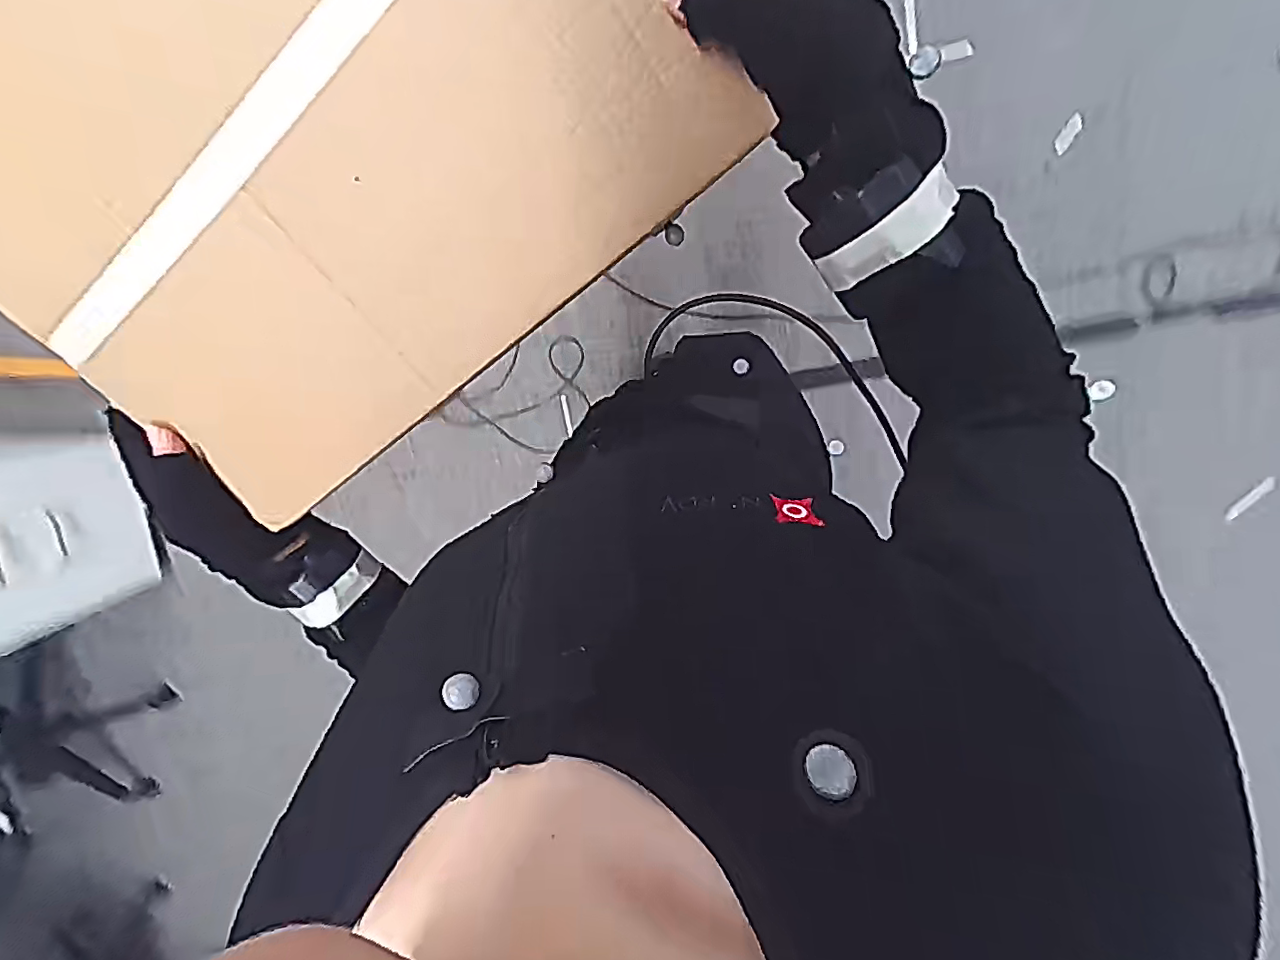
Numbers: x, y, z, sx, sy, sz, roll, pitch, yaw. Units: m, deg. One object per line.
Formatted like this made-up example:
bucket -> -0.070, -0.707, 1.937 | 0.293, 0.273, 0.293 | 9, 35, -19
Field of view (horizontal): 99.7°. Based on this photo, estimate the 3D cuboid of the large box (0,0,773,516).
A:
large box -> -0.170, -0.252, 0.413 | 0.408, 0.320, 0.320 | -32, 110, 17
